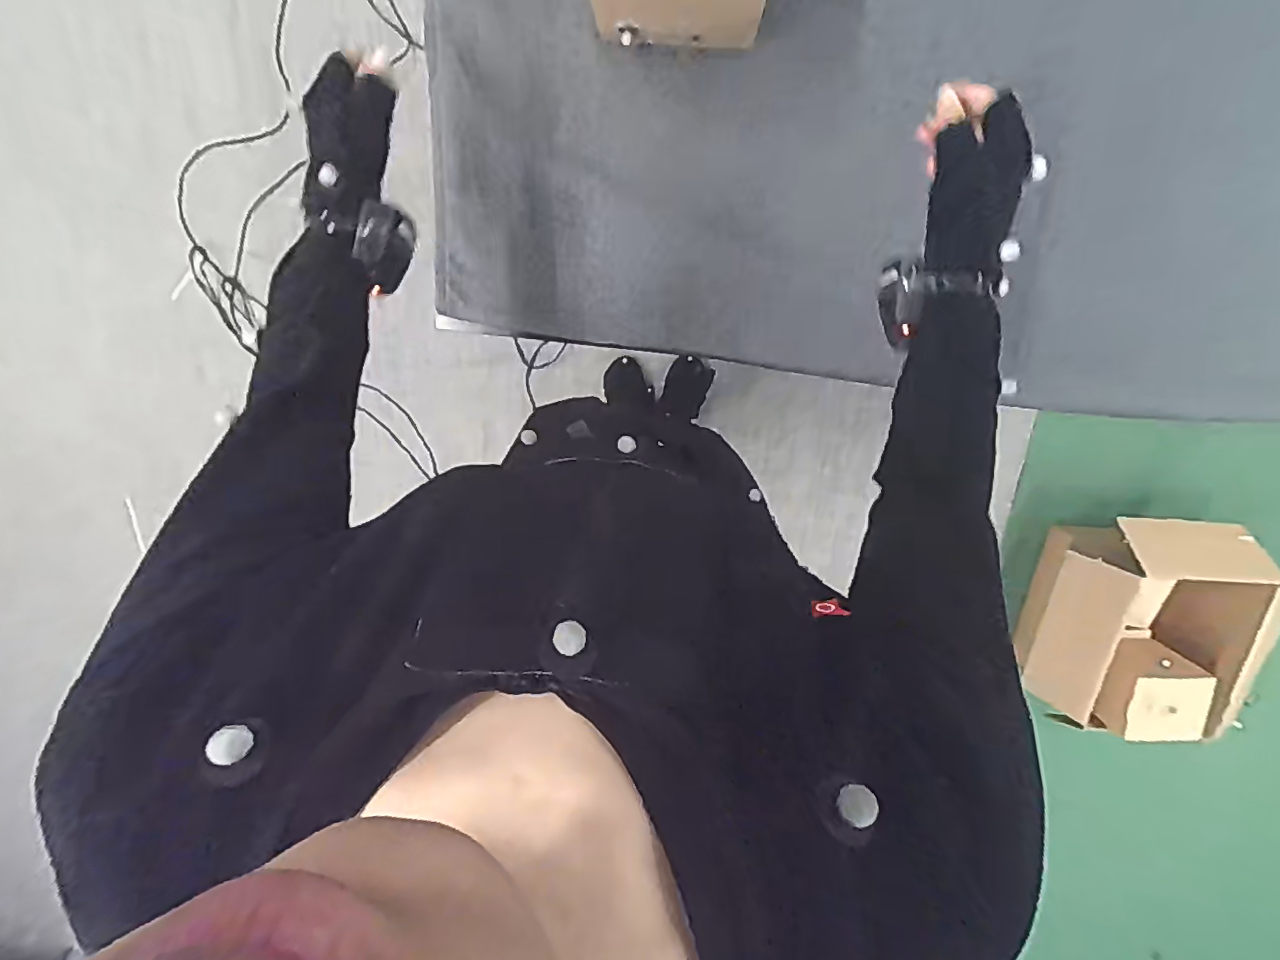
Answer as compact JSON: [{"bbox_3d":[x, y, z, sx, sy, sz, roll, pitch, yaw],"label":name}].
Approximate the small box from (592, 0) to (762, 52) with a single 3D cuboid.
[{"bbox_3d":[0.040,-0.526,0.488,0.168,0.176,0.179,5,107,1],"label":"small box"}]
